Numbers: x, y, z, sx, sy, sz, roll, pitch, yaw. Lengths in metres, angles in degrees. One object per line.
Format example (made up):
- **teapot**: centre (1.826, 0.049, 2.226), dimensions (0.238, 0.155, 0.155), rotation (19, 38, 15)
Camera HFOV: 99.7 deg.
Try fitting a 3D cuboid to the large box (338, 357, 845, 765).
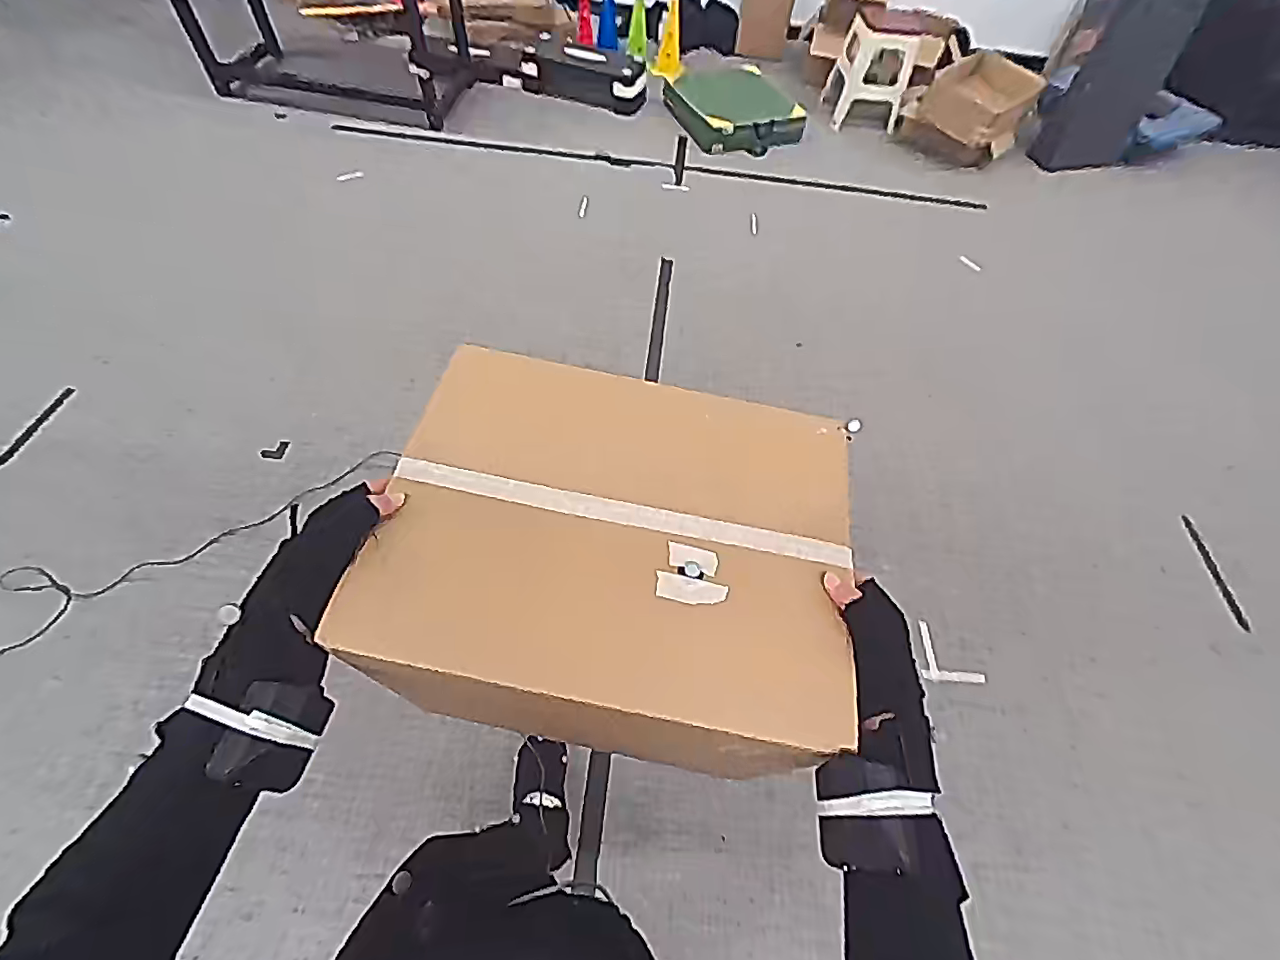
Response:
- **large box**: centre (-0.031, 0.110, 0.615), dimensions (0.408, 0.320, 0.320), rotation (12, 59, 0)
